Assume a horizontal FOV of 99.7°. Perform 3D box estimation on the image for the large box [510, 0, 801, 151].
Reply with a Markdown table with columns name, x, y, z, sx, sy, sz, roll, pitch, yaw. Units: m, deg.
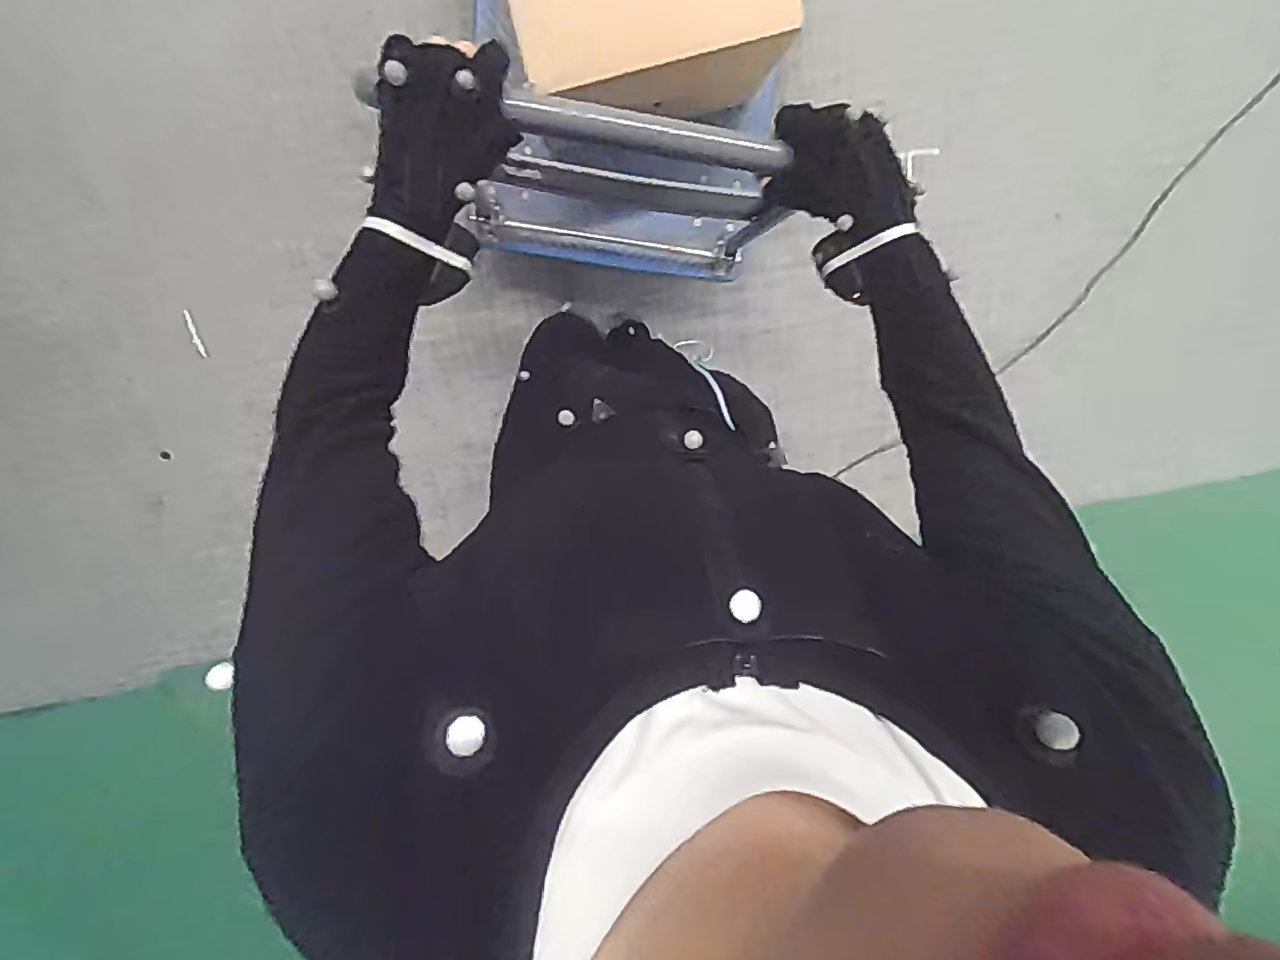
| name | x | y | z | sx | sy | sz | roll | pitch | yaw |
| --- | --- | --- | --- | --- | --- | --- | --- | --- | --- |
| large box | -0.001 | -0.791 | 0.881 | 0.408 | 0.320 | 0.320 | -14 | 108 | 2 |
